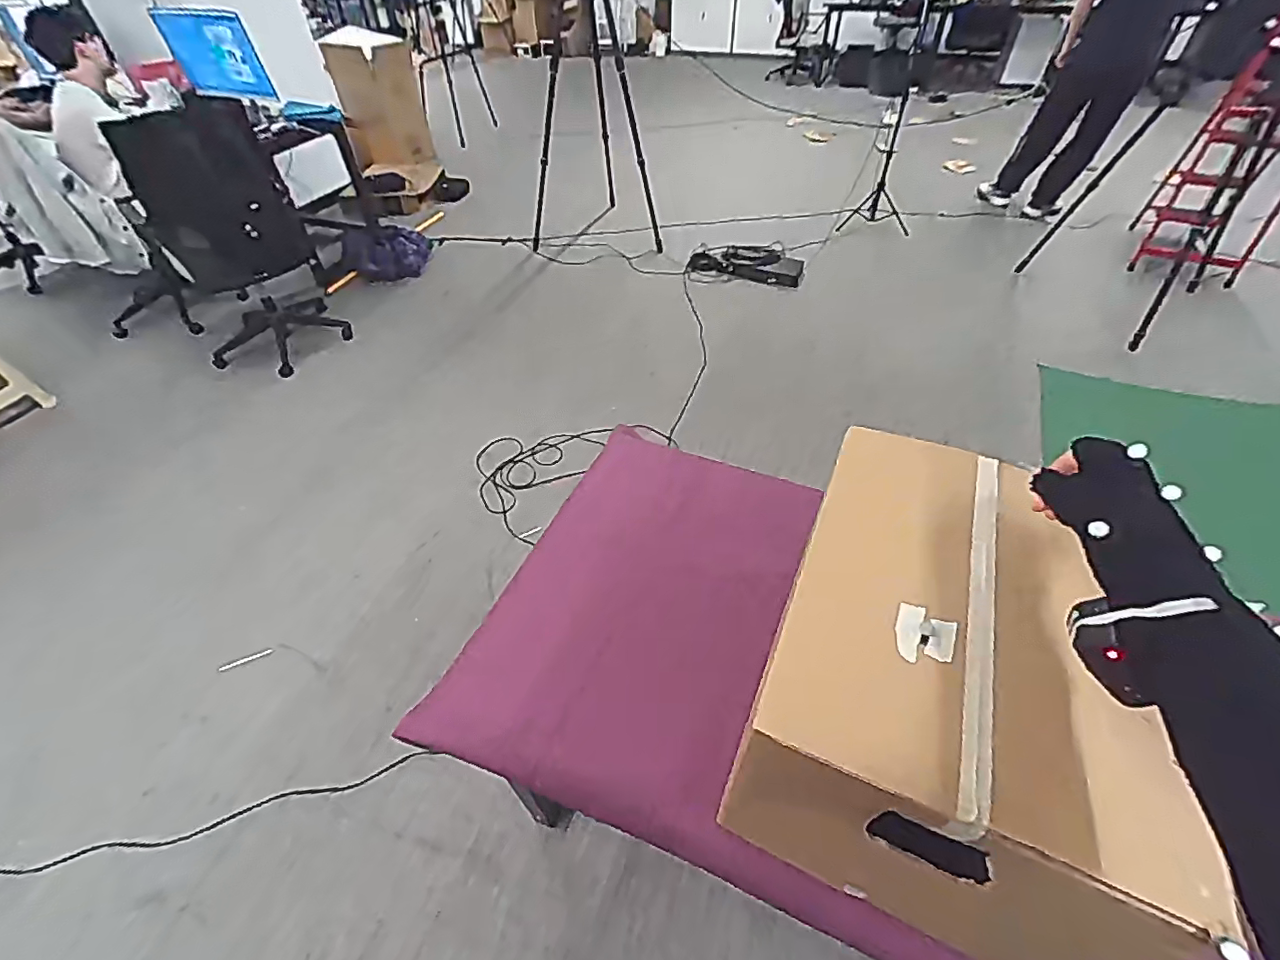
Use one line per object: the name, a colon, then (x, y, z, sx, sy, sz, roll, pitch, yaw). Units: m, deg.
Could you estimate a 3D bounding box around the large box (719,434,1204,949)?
large box: (0.311, 0.218, 0.625, 0.320, 0.320, 0.408, 18, 50, 18)
